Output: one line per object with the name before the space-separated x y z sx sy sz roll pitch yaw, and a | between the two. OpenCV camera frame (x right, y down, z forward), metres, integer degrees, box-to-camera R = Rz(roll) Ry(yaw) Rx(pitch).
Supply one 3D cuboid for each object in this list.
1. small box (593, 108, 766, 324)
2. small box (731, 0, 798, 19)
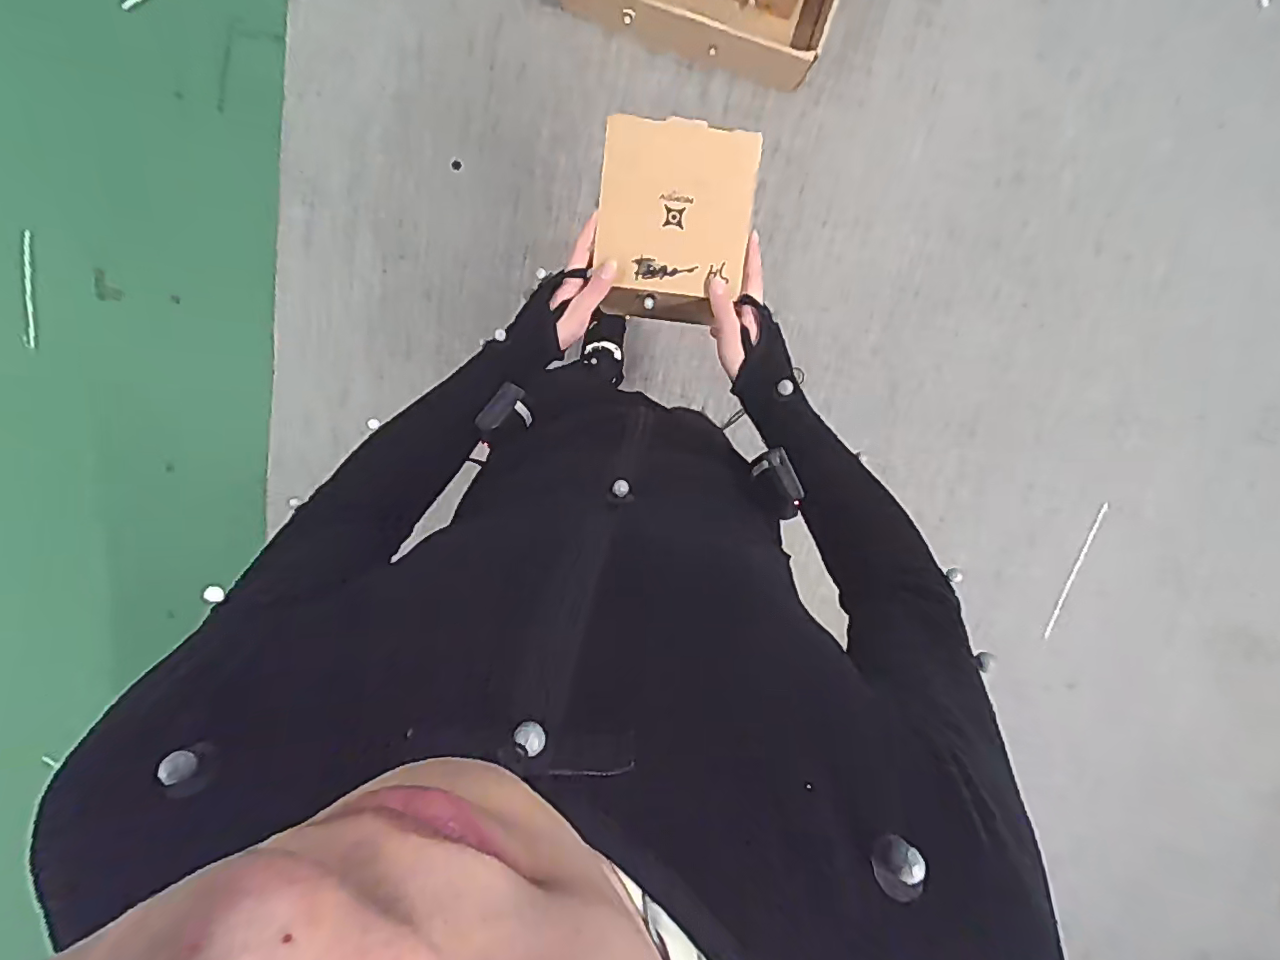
small box | 0.040 -0.298 0.648 0.168 0.176 0.179 7 97 0
small box | 0.297 -1.163 1.169 0.168 0.176 0.179 16 105 -3
